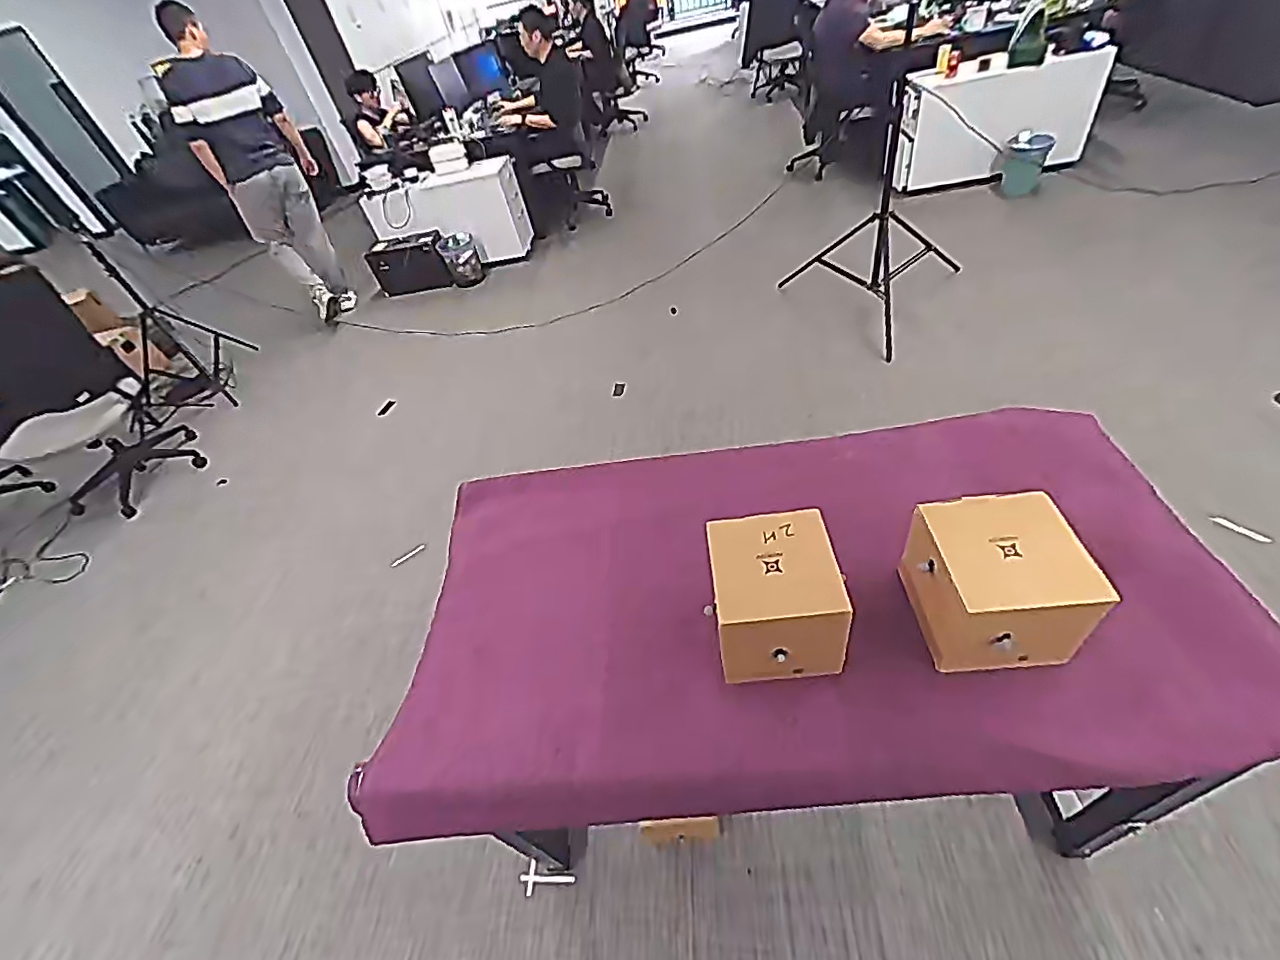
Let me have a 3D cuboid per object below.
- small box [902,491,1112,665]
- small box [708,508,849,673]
[{"bbox_3d":[0.481,0.141,0.744,0.168,0.176,0.179,-7,45,8],"label":"small box"},{"bbox_3d":[0.194,0.168,0.790,0.168,0.176,0.179,-7,43,6],"label":"small box"}]
